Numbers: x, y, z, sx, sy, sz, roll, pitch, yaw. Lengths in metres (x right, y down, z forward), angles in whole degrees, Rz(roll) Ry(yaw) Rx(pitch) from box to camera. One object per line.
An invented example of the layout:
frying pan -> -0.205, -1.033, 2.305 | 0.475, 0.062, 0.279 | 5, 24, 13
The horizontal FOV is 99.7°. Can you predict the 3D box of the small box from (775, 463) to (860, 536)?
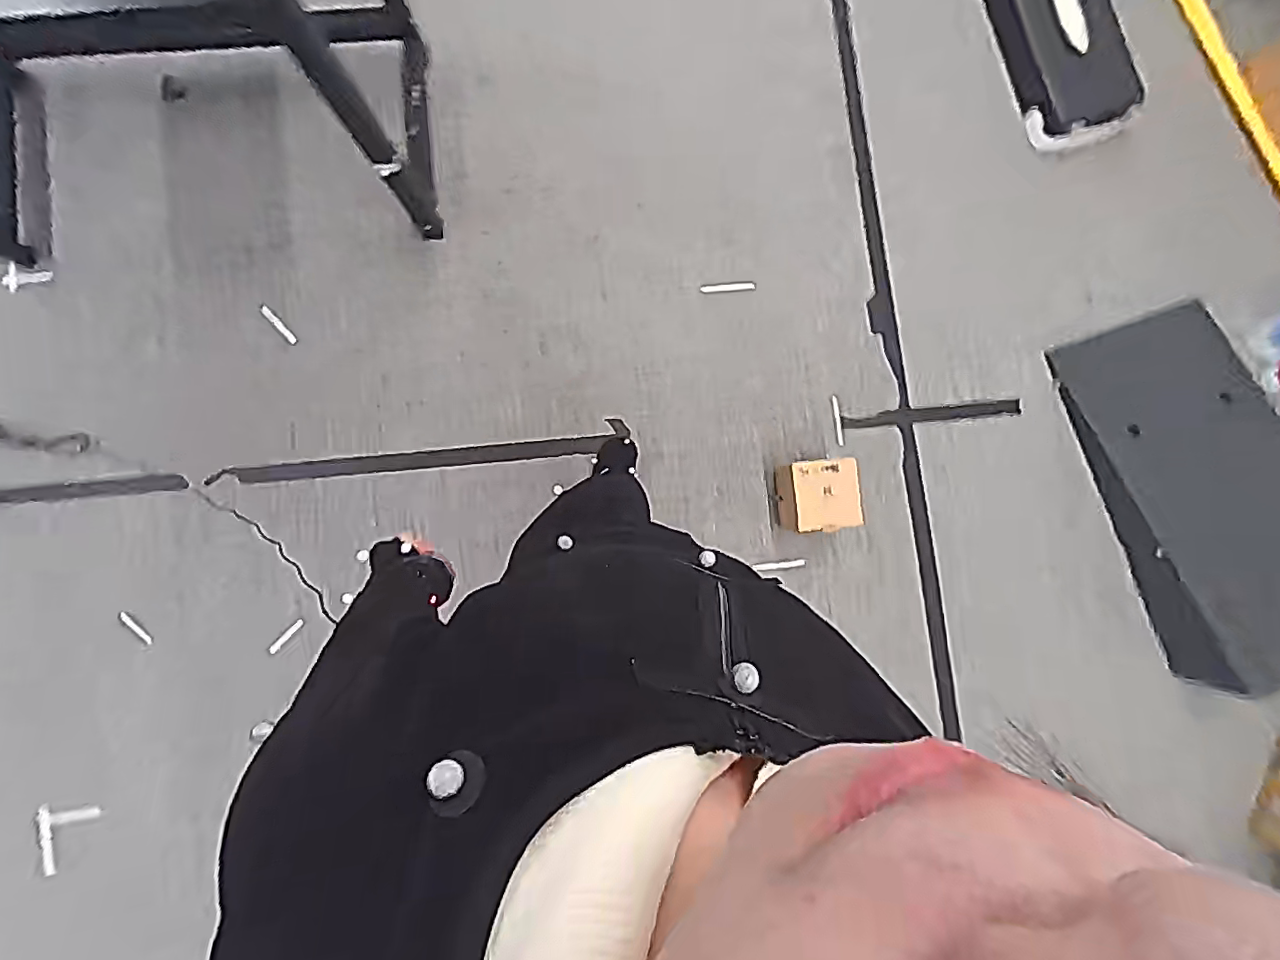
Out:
small box -> 0.463, 0.049, 1.432 | 0.168, 0.176, 0.179 | -4, 88, -2
